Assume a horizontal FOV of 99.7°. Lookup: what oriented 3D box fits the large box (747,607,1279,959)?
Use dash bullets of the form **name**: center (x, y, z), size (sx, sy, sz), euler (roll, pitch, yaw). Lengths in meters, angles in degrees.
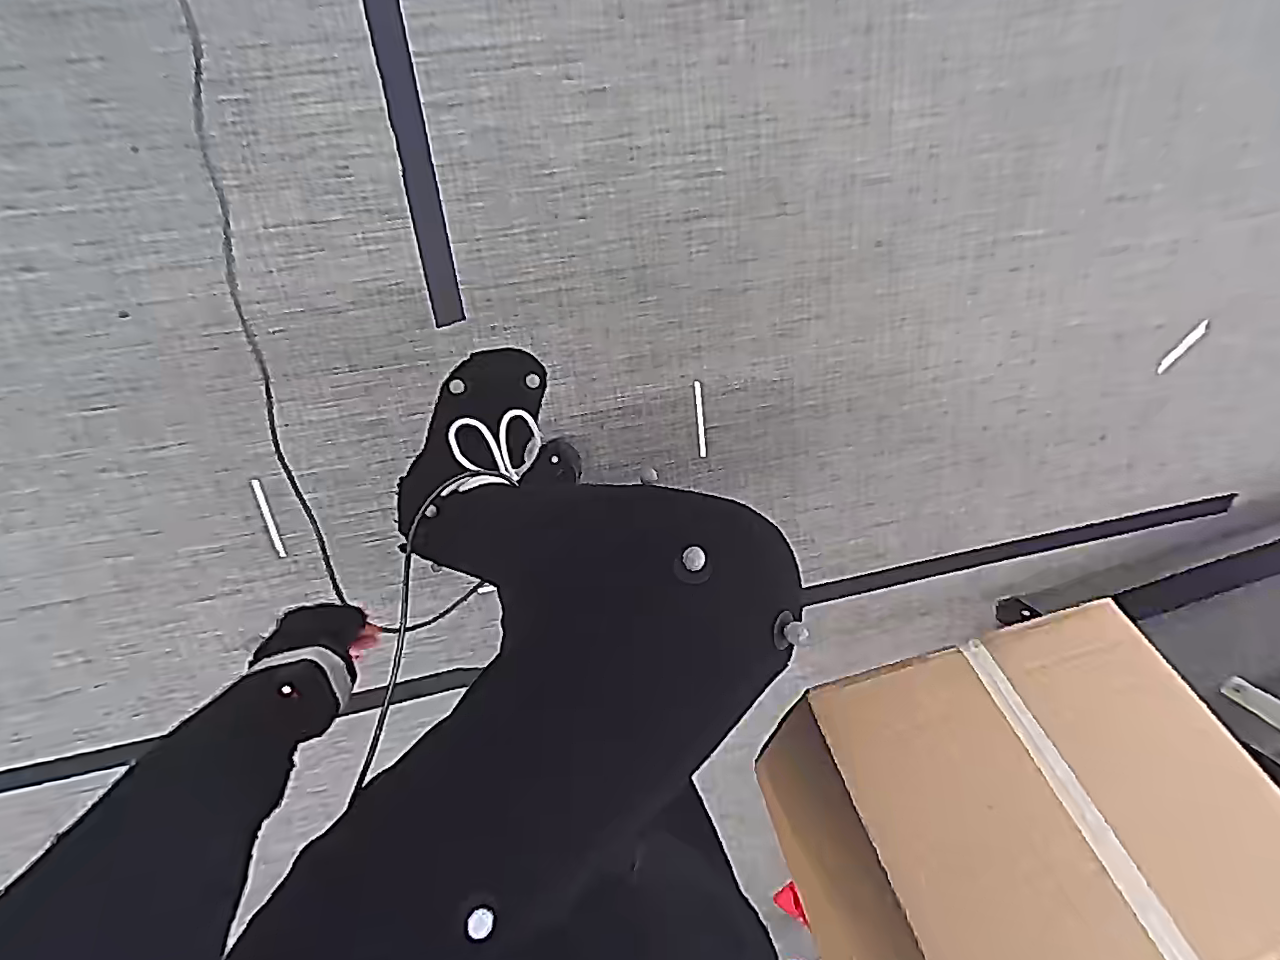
- **large box**: center (0.334, 0.391, 0.490), size (0.320, 0.408, 0.320), euler (-13, 144, -8)
